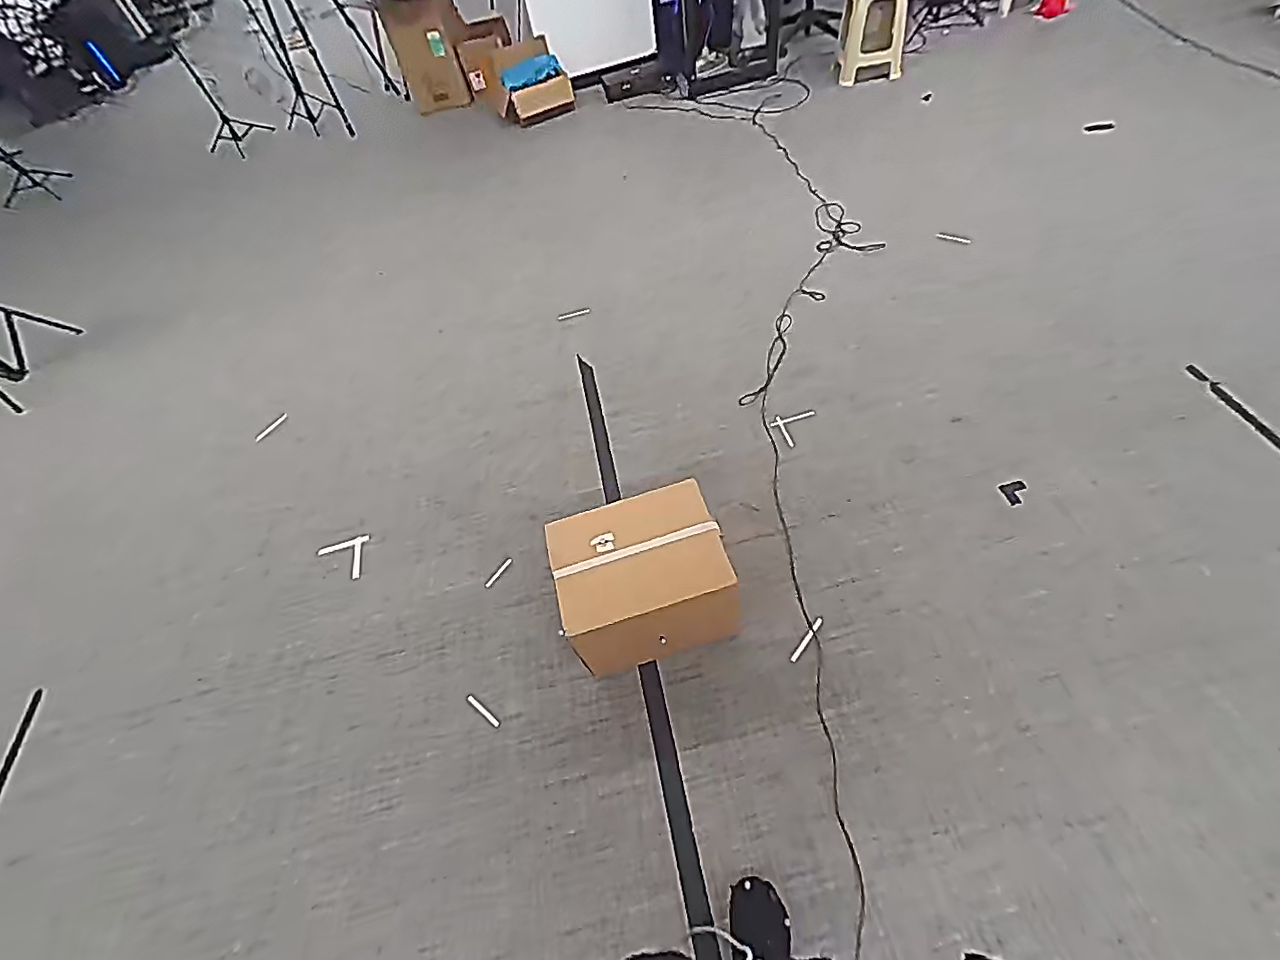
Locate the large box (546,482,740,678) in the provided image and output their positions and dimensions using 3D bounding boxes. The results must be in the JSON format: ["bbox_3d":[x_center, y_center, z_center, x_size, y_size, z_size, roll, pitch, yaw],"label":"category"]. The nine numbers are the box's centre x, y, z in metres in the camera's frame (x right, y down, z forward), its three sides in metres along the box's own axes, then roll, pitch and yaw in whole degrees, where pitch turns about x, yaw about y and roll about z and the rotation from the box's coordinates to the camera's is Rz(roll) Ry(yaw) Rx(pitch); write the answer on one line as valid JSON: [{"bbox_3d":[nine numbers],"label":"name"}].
[{"bbox_3d":[0.014,0.265,1.396,0.408,0.320,0.320,-18,52,0],"label":"large box"}]
